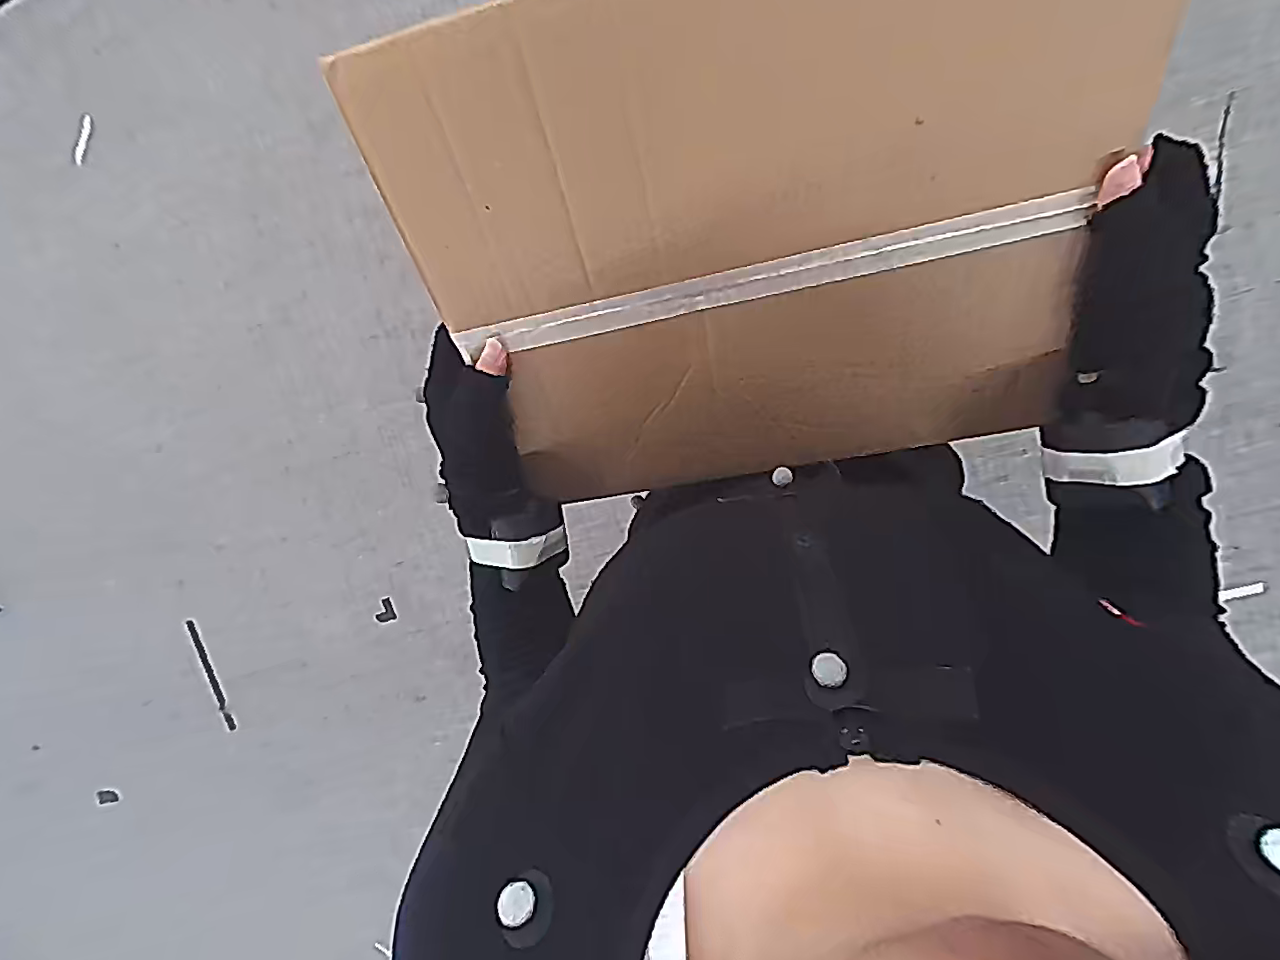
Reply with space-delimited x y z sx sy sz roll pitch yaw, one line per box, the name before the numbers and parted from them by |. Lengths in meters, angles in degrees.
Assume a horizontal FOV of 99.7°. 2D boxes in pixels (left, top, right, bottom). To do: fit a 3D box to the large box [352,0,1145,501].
large box | 0.074 -0.225 0.461 0.408 0.320 0.320 -10 130 10
